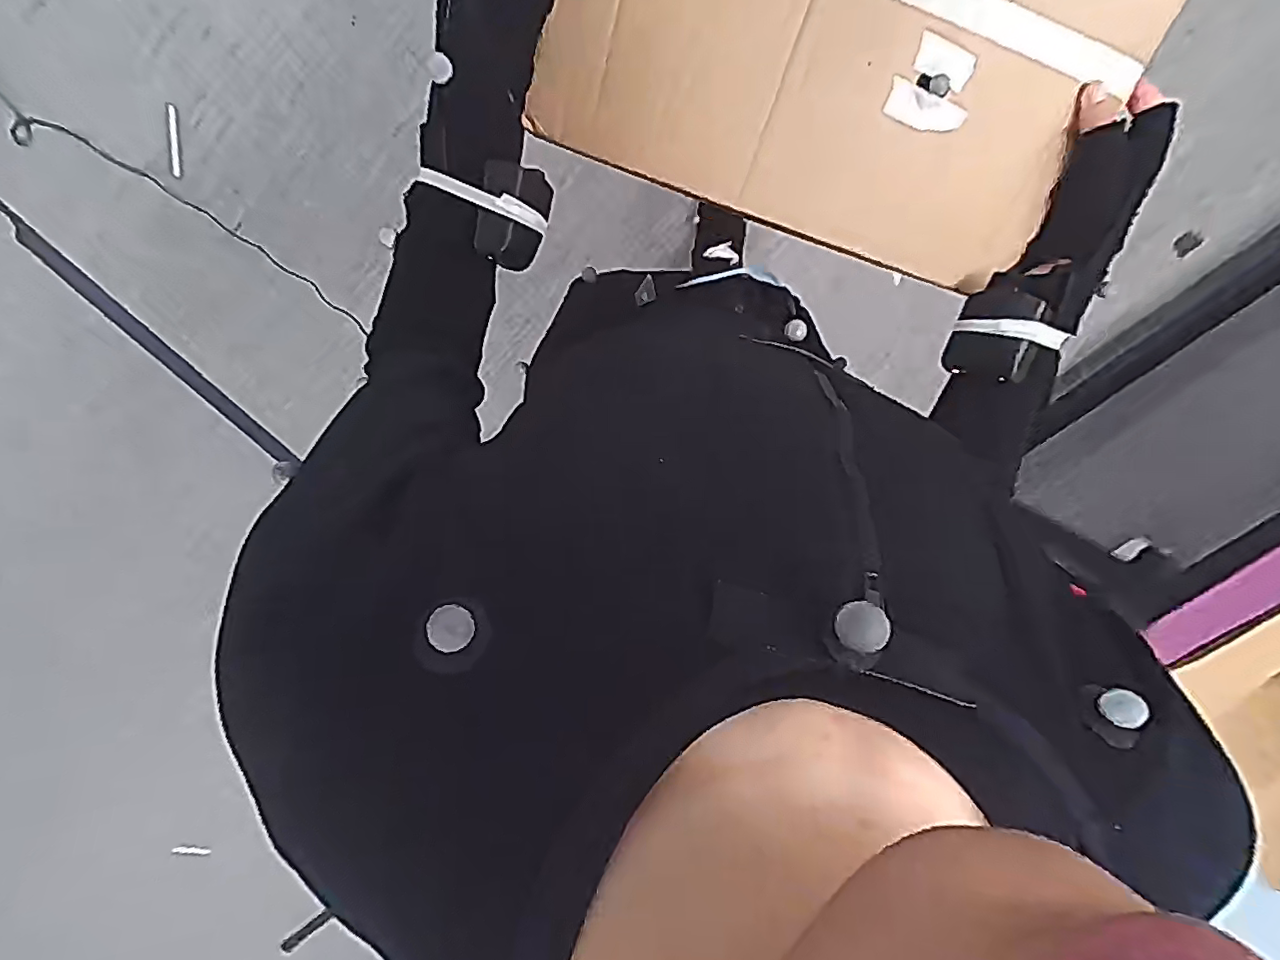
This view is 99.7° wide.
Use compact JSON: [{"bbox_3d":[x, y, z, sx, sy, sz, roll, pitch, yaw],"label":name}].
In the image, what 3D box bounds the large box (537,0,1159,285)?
[{"bbox_3d":[0.147,-0.414,0.492,0.408,0.320,0.320,15,119,-11],"label":"large box"}]
